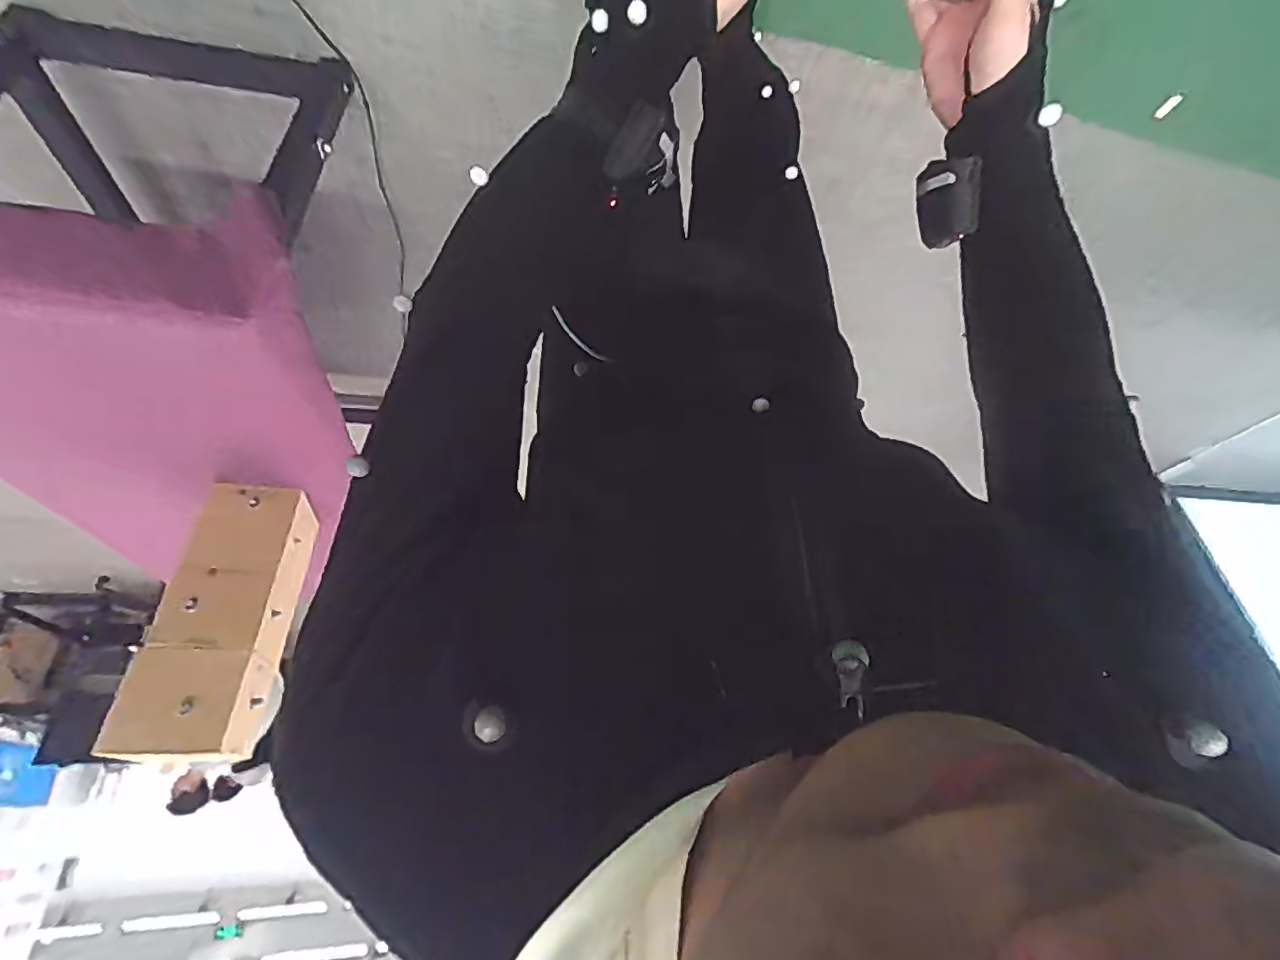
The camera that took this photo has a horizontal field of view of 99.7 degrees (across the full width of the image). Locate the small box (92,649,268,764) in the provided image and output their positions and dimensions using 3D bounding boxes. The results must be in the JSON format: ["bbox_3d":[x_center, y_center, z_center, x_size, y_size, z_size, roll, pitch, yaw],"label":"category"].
[{"bbox_3d":[-0.793,0.402,0.961,0.179,0.176,0.168,7,147,-16],"label":"small box"}]

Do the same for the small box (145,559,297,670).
[{"bbox_3d":[-0.793,0.263,1.046,0.168,0.176,0.179,7,148,-16],"label":"small box"}]
